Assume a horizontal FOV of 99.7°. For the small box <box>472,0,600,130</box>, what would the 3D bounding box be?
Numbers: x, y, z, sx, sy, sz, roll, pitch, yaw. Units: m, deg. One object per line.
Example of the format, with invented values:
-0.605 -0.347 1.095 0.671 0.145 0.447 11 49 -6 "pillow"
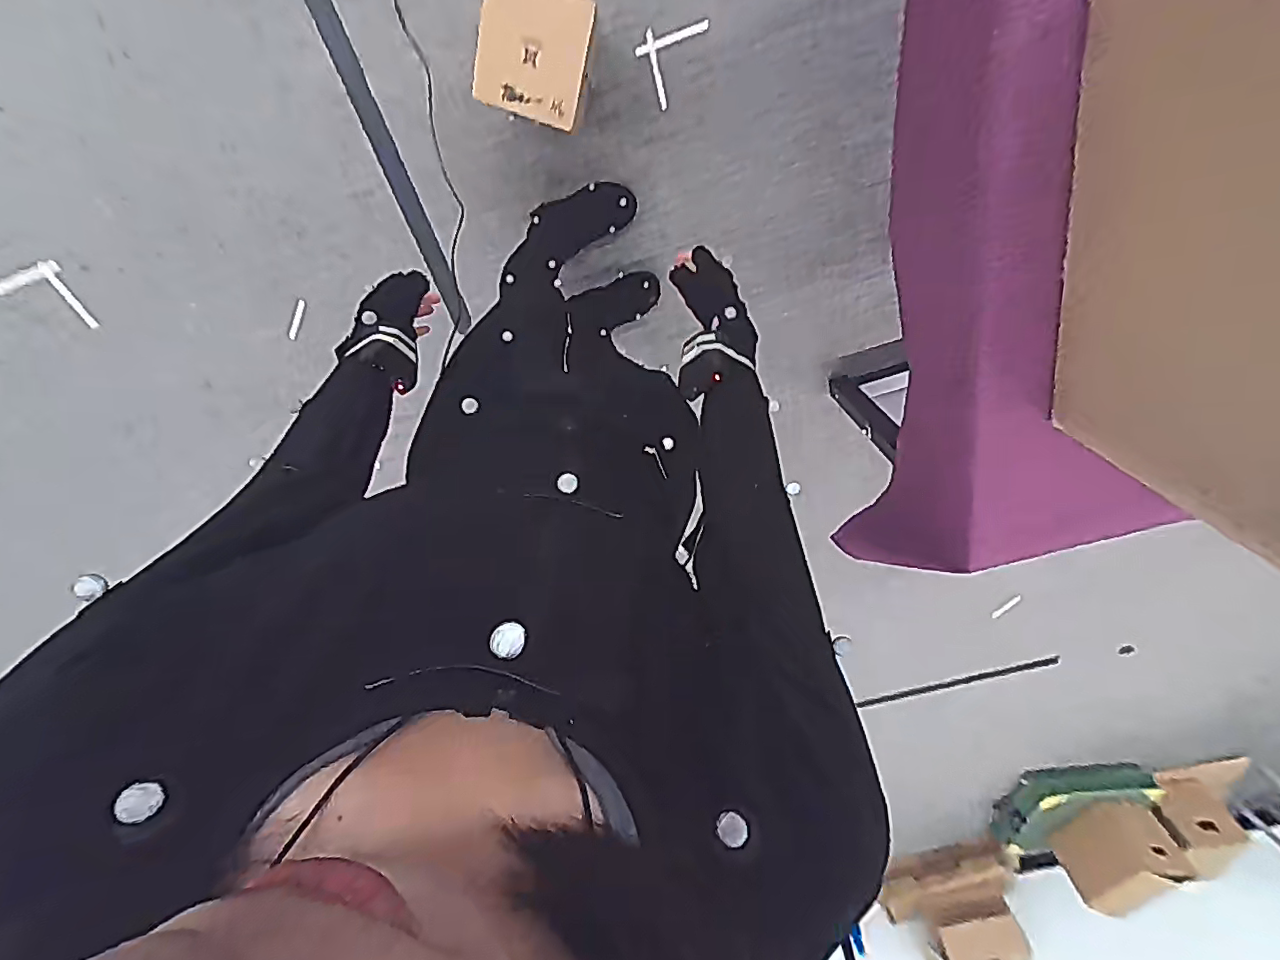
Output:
-0.168 -0.706 0.896 0.168 0.176 0.179 13 120 -12 "small box"
